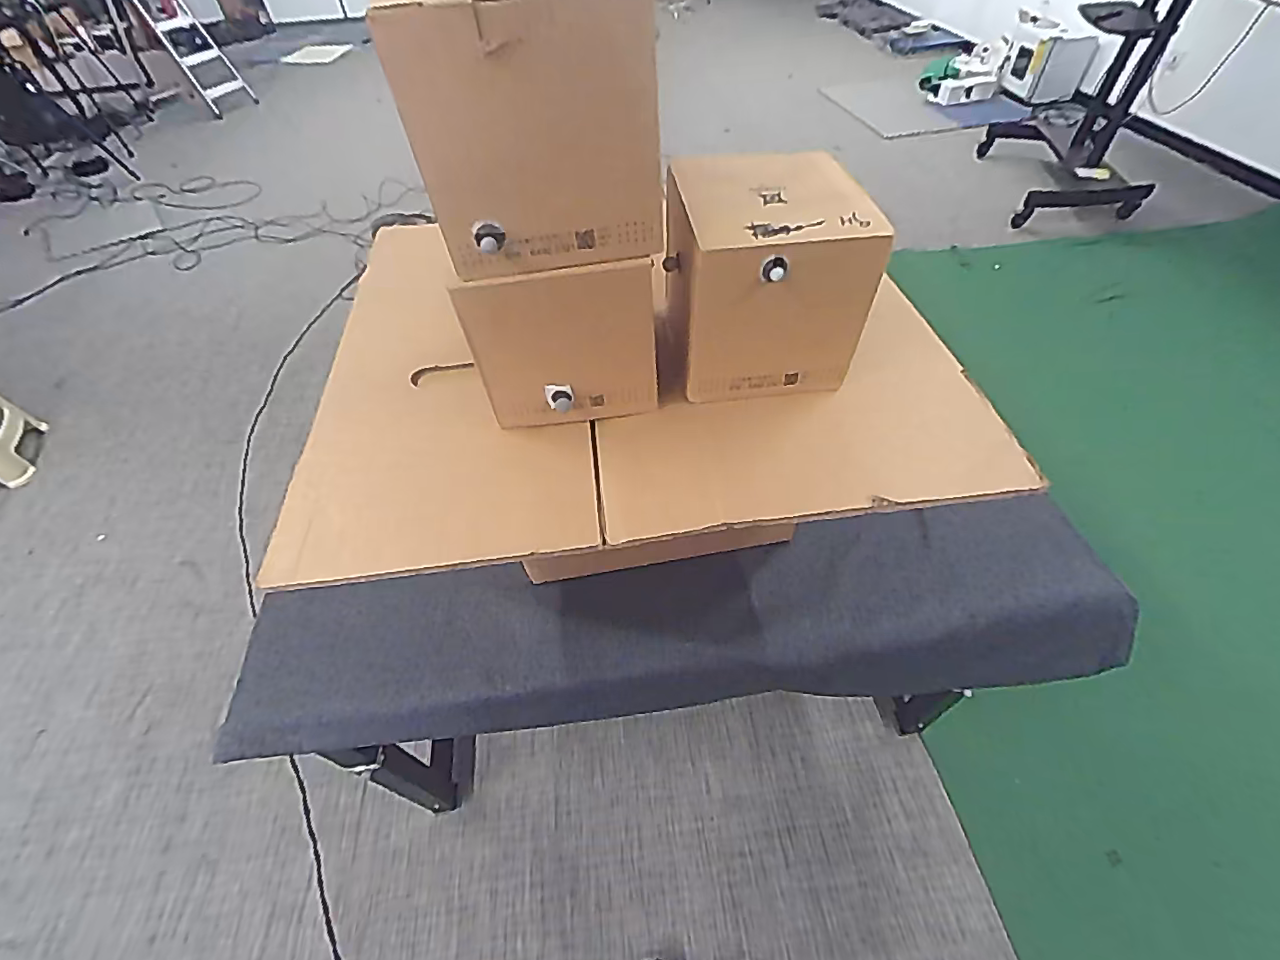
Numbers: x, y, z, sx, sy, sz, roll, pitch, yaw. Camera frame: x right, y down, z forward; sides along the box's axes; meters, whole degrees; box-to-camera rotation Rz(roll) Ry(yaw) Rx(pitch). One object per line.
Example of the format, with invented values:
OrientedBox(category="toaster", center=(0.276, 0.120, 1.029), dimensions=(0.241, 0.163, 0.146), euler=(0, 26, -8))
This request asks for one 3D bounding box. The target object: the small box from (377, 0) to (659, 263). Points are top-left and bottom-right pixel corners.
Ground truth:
OrientedBox(category="small box", center=(-0.079, -0.290, 0.432), dimensions=(0.168, 0.176, 0.179), euler=(-8, 50, -2))

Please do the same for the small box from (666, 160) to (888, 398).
OrientedBox(category="small box", center=(0.119, -0.207, 0.562), dimensions=(0.168, 0.176, 0.179), euler=(-5, 50, -3))
